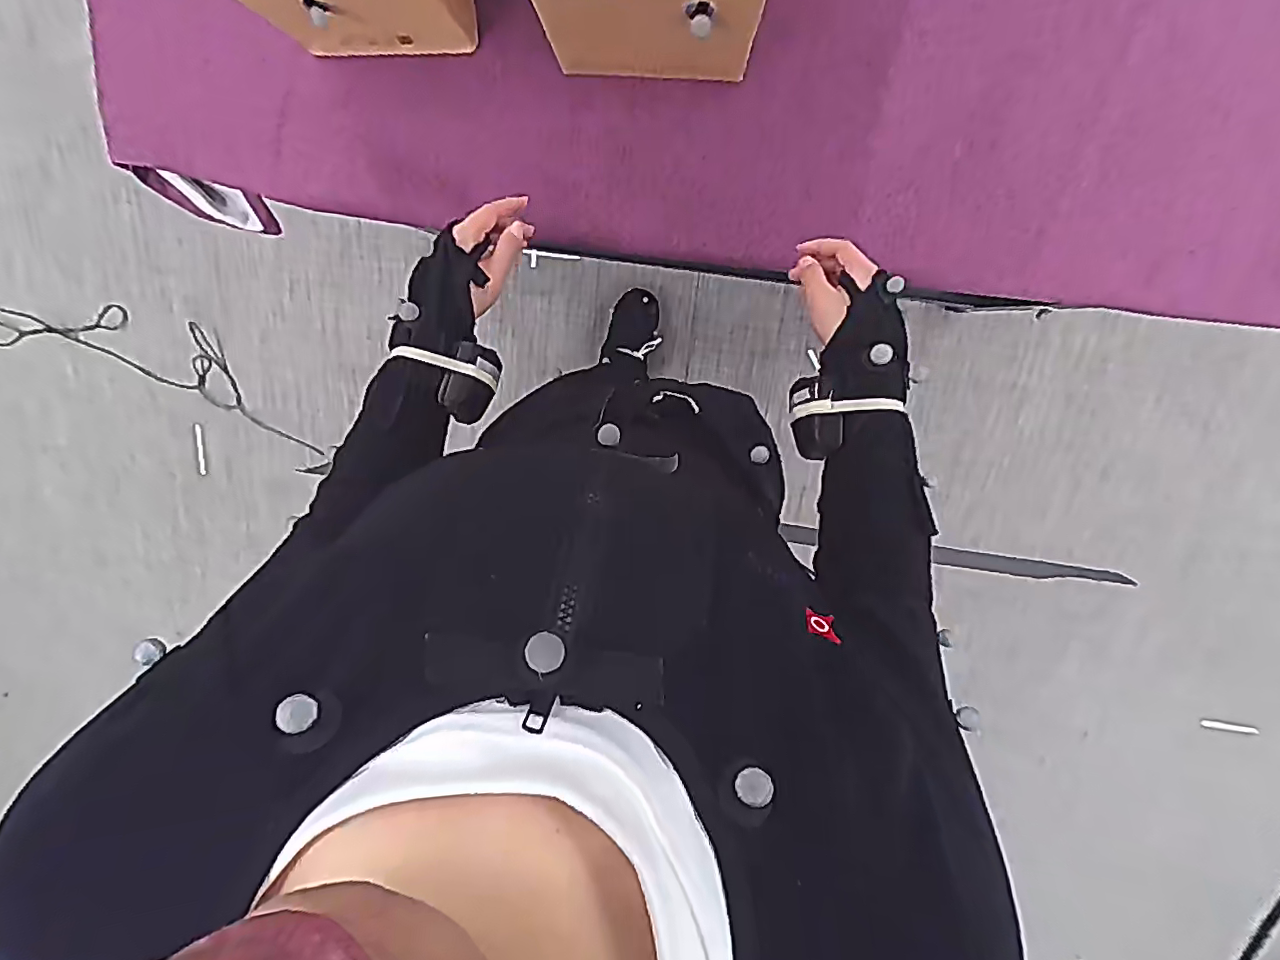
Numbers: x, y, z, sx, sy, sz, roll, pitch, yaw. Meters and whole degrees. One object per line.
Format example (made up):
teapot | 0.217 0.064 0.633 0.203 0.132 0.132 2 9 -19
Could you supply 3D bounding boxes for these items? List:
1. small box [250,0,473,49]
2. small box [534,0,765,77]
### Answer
small box | -0.243 -0.475 0.427 0.168 0.176 0.179 1 106 3
small box | 0.011 -0.444 0.419 0.179 0.176 0.168 4 106 2
